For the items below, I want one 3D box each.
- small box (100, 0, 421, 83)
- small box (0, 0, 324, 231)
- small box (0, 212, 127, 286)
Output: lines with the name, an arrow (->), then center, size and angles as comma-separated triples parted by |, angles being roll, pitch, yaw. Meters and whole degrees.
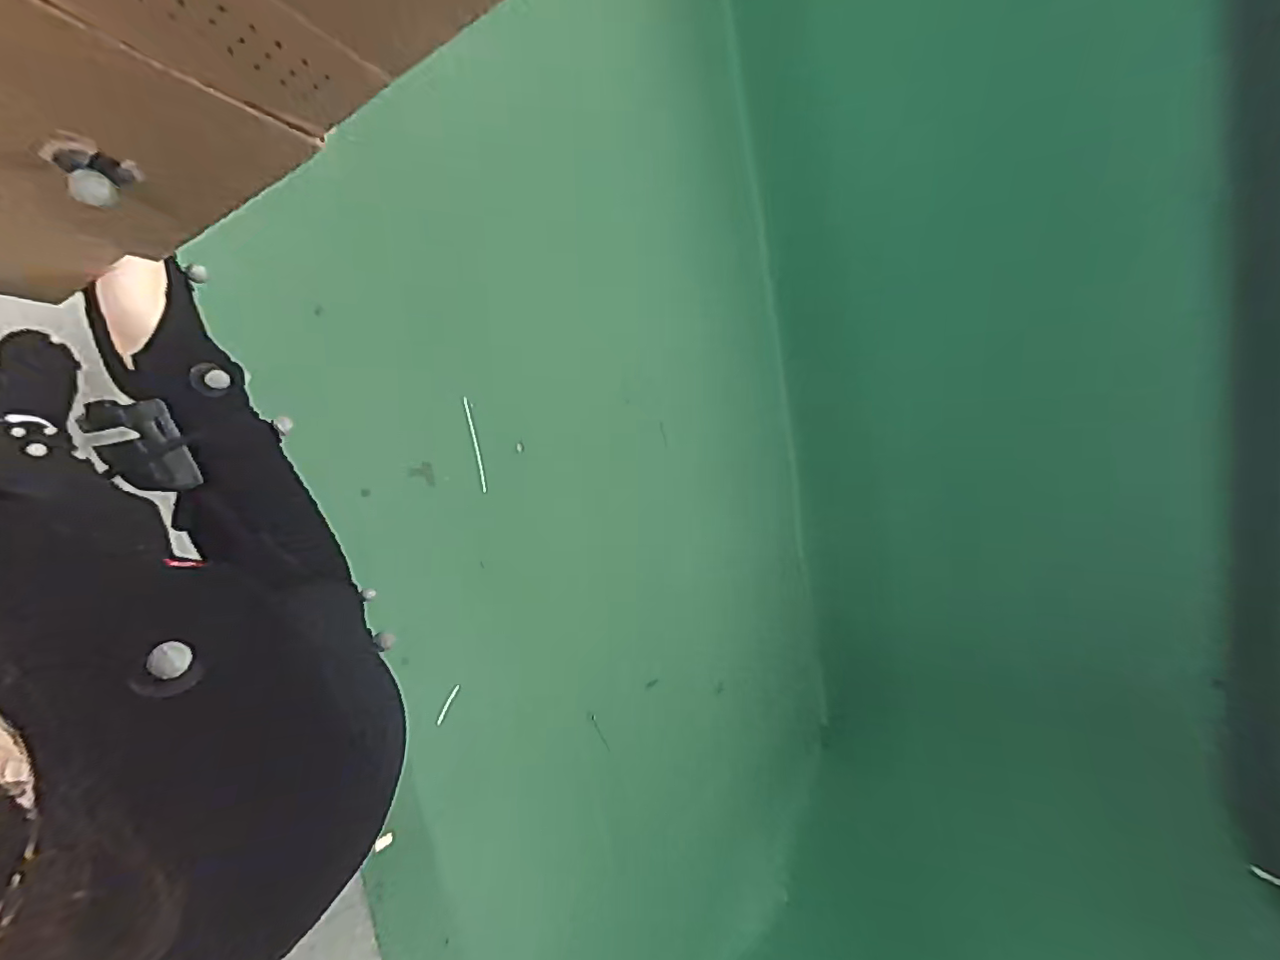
small box -> -0.090, -0.206, 0.071 | 0.179, 0.176, 0.168 | 2, 86, -58
small box -> -0.227, -0.197, 0.159 | 0.179, 0.176, 0.168 | -3, 90, -57
small box -> -0.364, -0.208, 0.246 | 0.168, 0.176, 0.179 | 0, 89, -58
